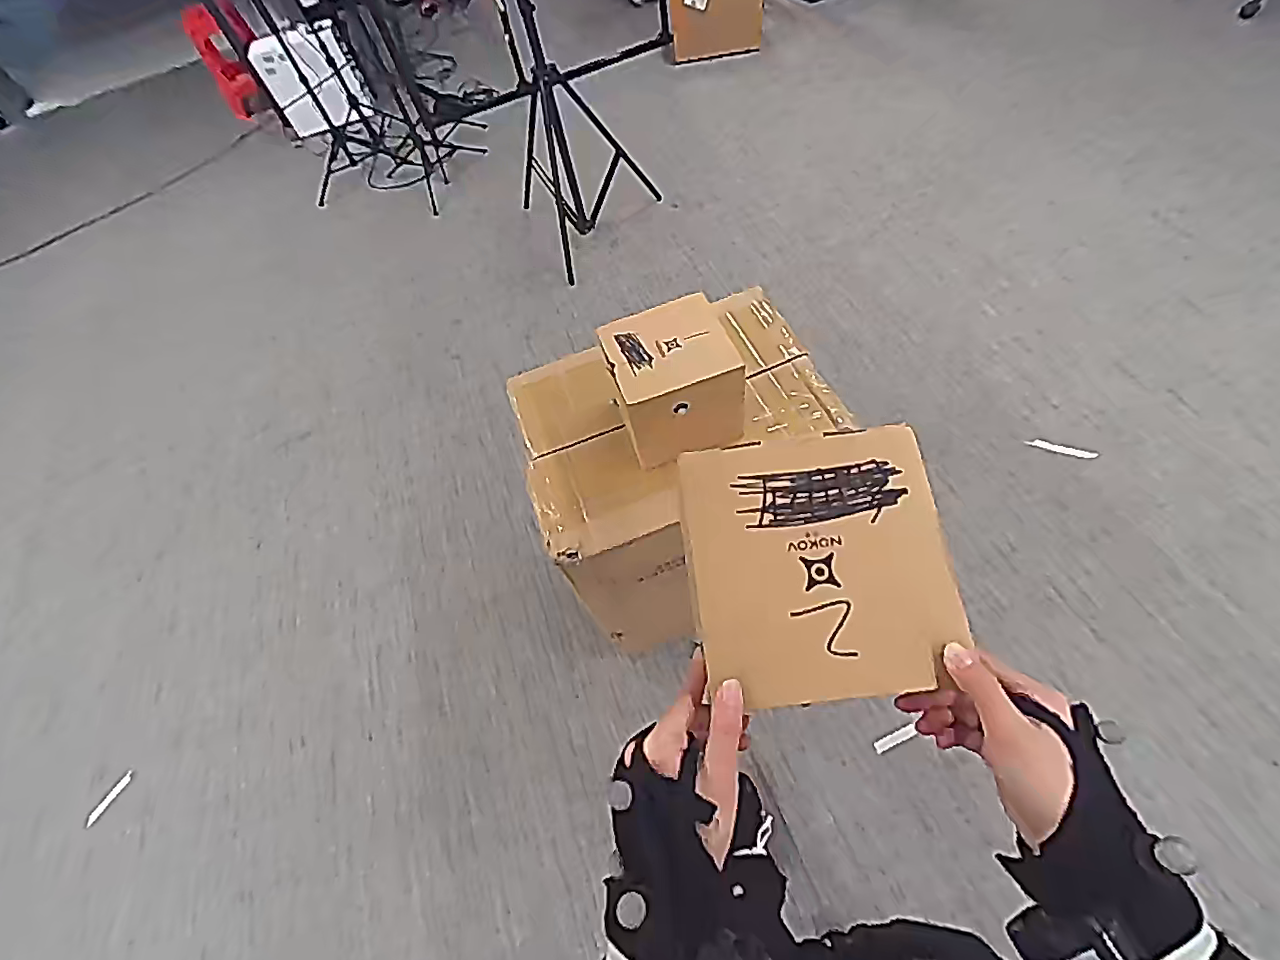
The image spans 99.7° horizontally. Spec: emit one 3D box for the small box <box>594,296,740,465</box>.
[{"bbox_3d":[0.047,-0.148,0.846,0.179,0.176,0.168,-20,58,-3],"label":"small box"}]
